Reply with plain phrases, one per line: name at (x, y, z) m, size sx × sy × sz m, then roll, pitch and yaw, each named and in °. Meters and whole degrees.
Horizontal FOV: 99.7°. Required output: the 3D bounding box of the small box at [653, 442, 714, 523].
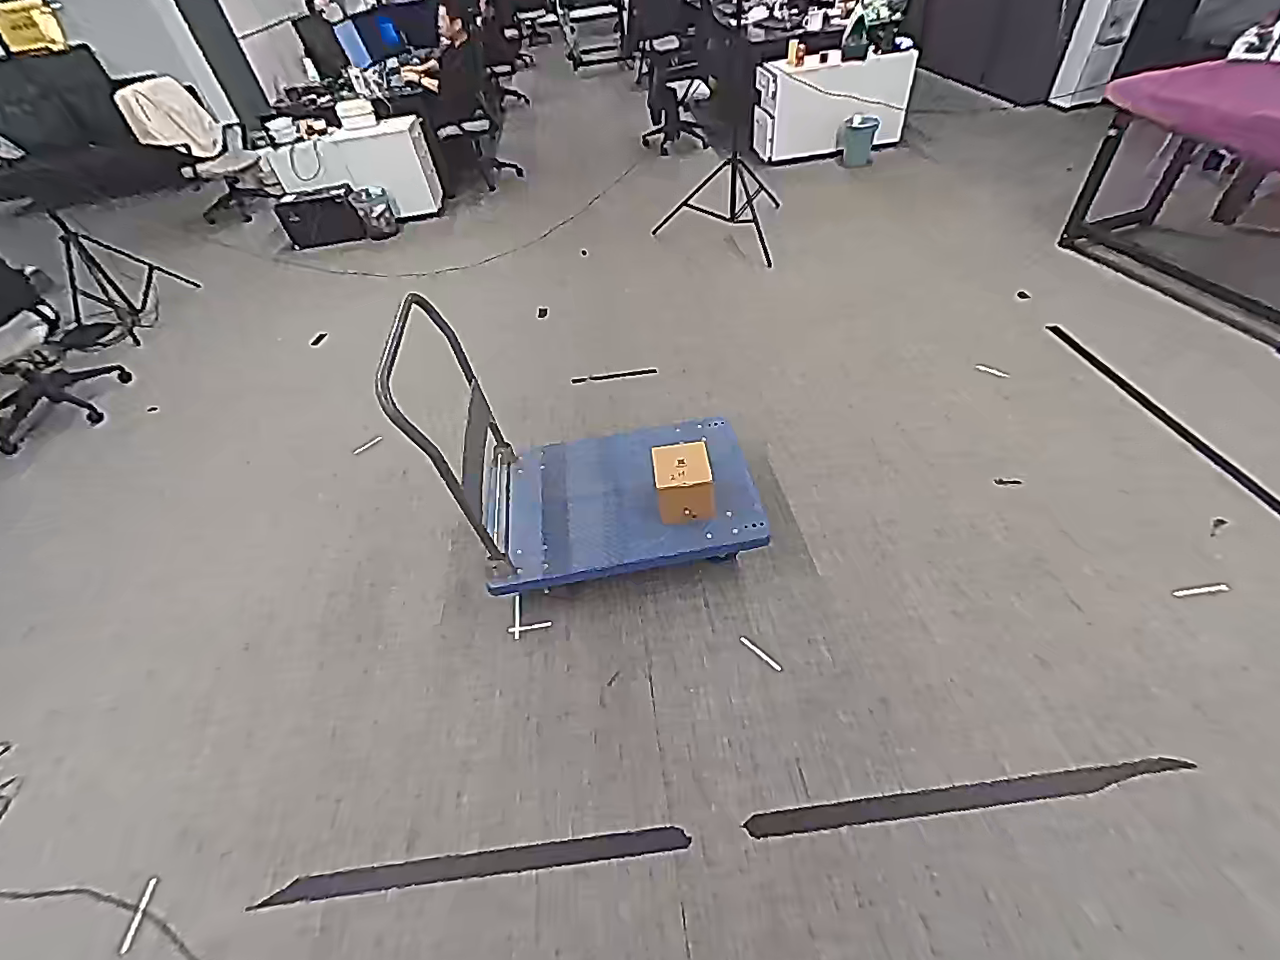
small box at (0.134, 0.010, 1.670) m, size 0.168 × 0.176 × 0.179 m, roll -8°, pitch 46°, yaw 2°
